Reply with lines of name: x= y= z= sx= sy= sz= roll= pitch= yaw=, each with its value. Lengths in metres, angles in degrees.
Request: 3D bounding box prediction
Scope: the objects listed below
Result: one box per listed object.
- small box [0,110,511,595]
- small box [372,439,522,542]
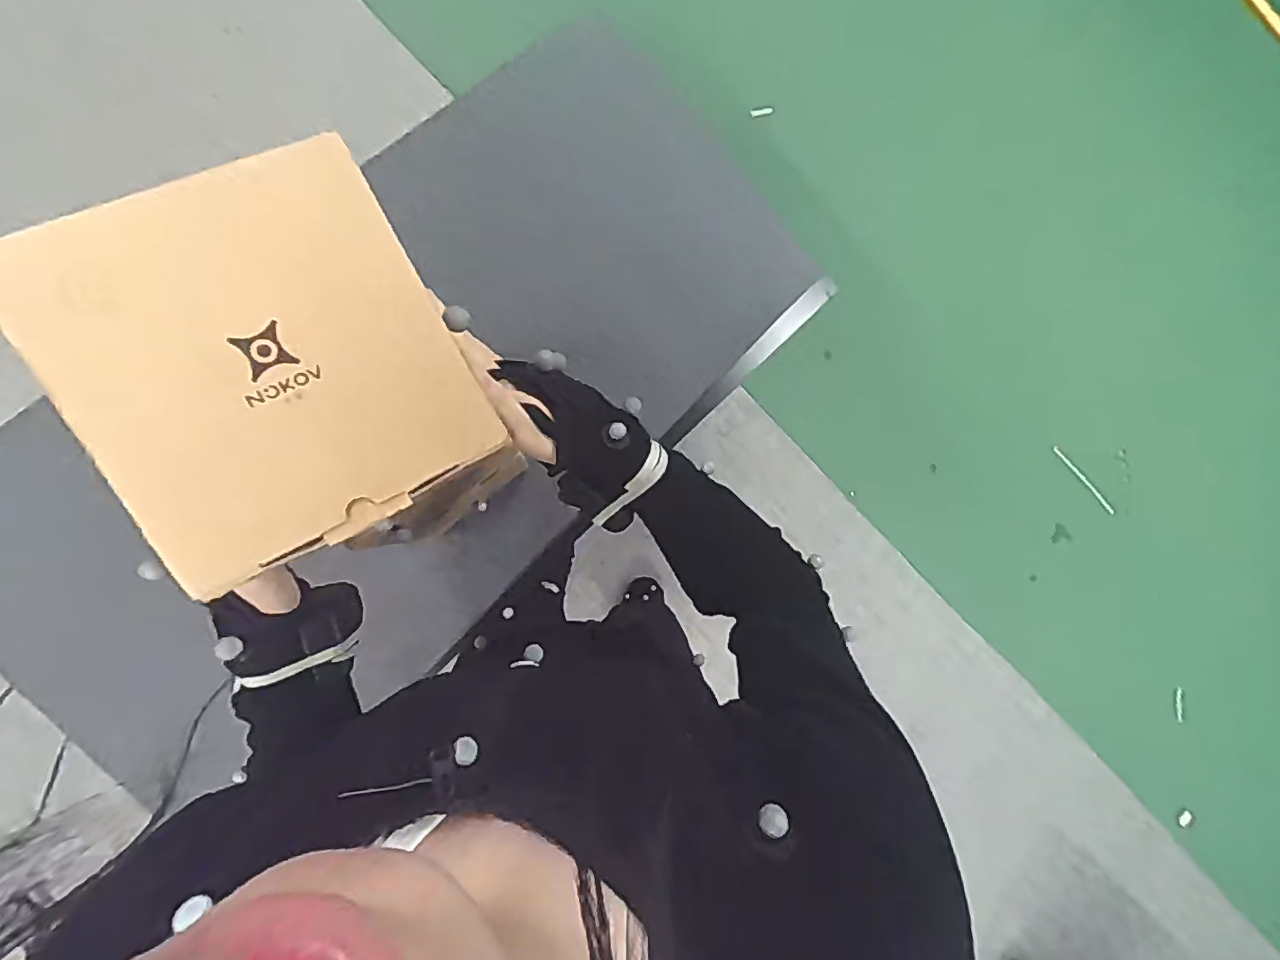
small box: x=-0.197 y=-0.061 z=0.319 sx=0.168 sy=0.176 sz=0.179 roll=-30 pitch=100 yaw=-16
small box: x=-0.265 y=-0.039 z=0.669 sx=0.168 sy=0.176 sz=0.179 roll=-39 pitch=92 yaw=-10
